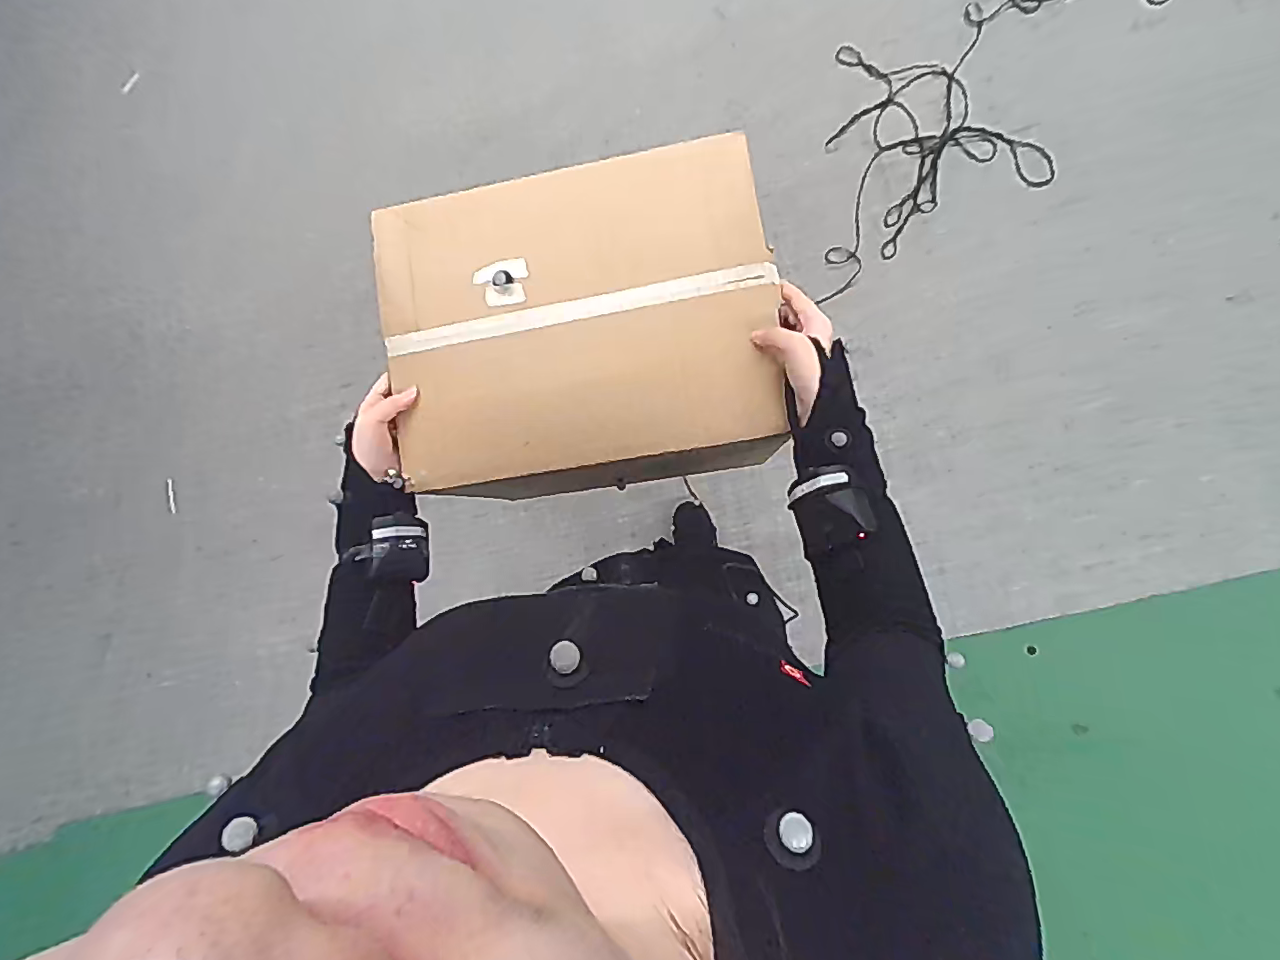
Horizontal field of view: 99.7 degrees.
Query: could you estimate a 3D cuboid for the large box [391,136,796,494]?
[{"bbox_3d":[-0.040,-0.164,0.713,0.408,0.320,0.320,-9,85,8],"label":"large box"}]
